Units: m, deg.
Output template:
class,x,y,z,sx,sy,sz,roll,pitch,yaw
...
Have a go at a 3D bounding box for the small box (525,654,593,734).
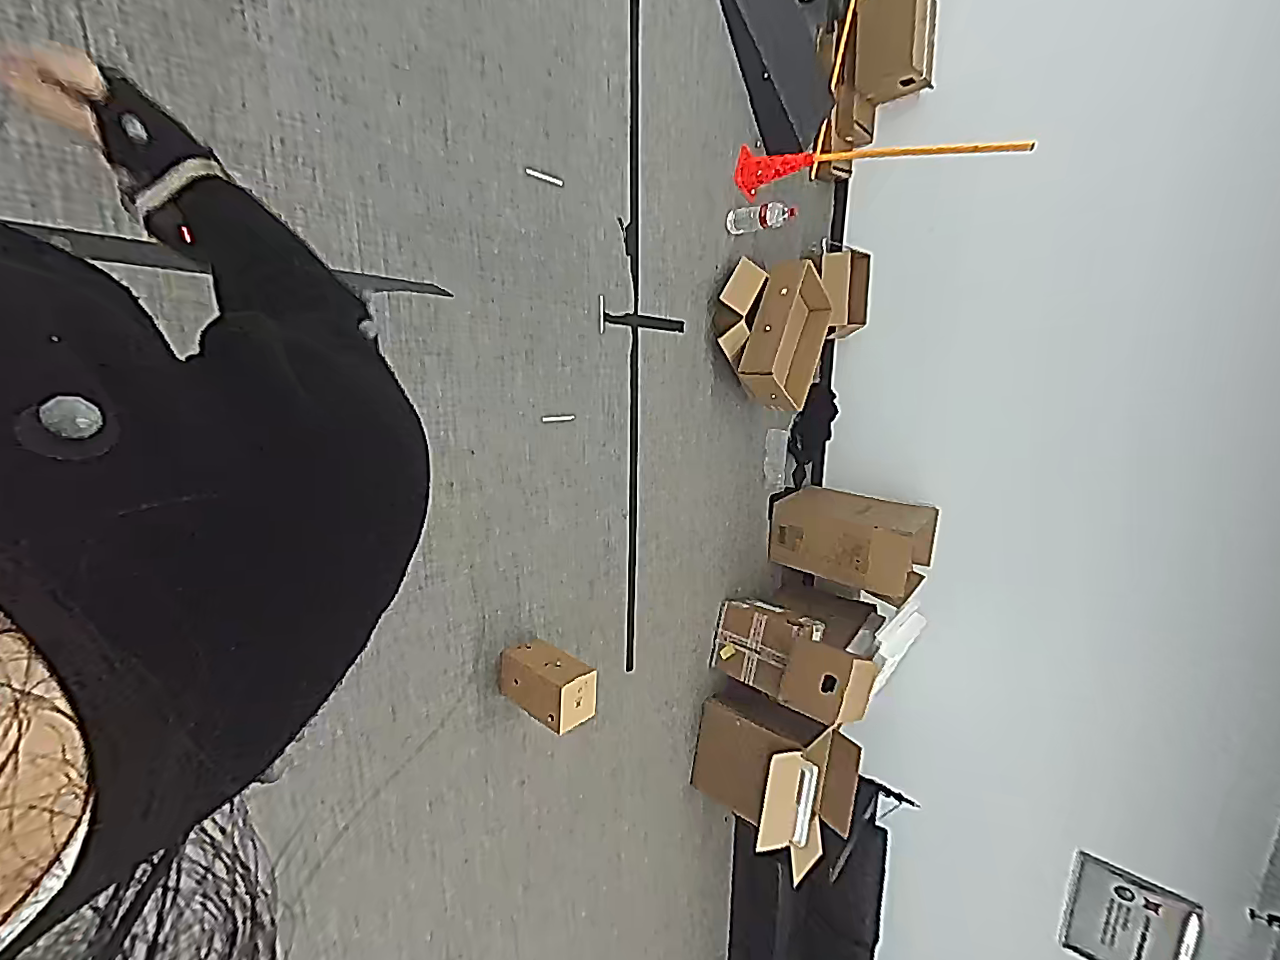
class,x,y,z,sx,sy,sz,roll,pitch,yaw
small box,-0.283,0.732,1.865,0.168,0.176,0.179,-7,104,-50
